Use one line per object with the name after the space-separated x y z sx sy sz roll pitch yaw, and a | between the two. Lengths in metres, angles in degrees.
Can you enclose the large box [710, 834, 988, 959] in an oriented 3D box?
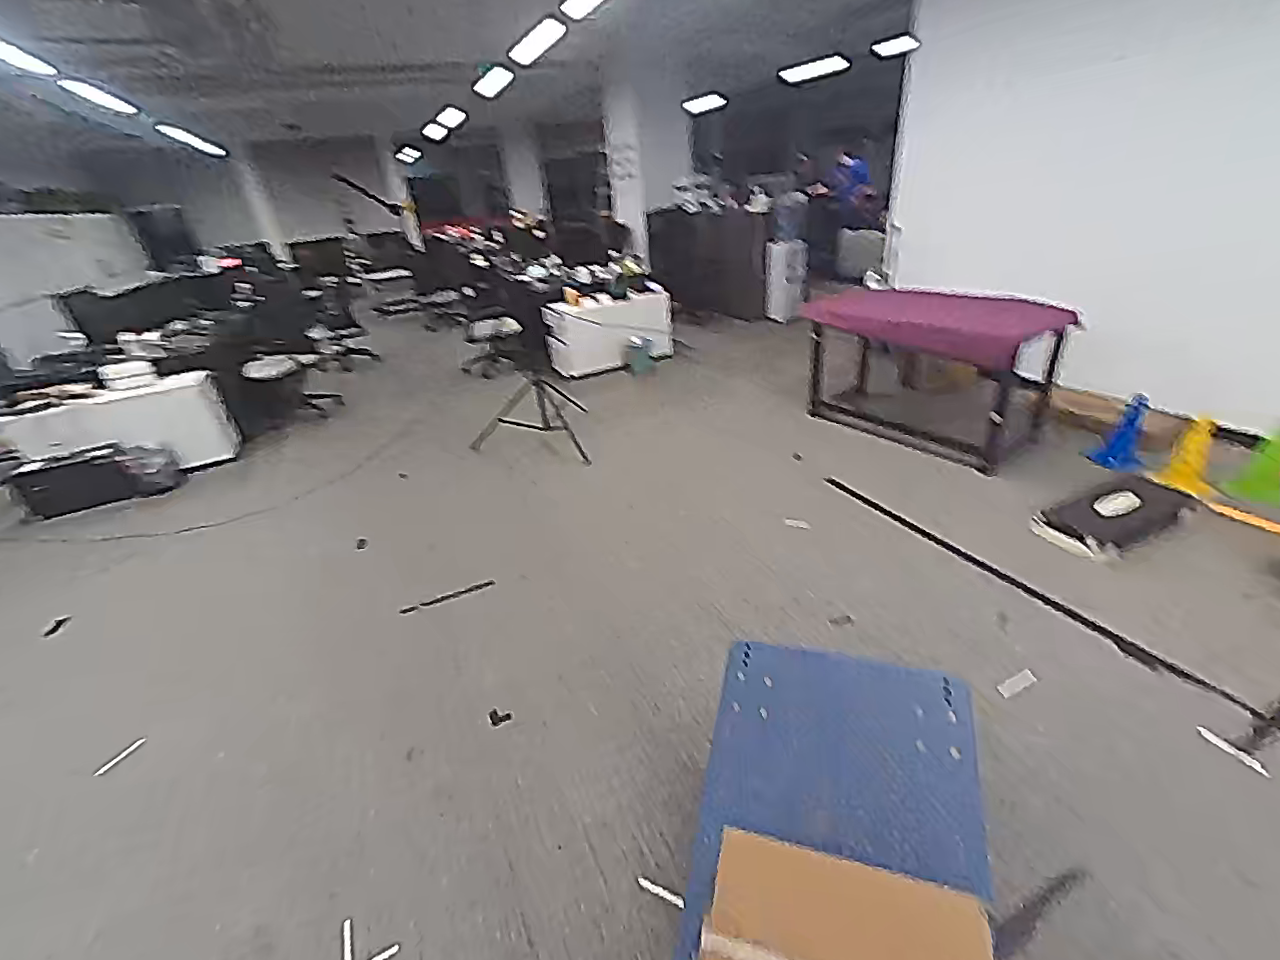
0.327 0.850 0.910 0.408 0.320 0.320 5 50 17 | large box
